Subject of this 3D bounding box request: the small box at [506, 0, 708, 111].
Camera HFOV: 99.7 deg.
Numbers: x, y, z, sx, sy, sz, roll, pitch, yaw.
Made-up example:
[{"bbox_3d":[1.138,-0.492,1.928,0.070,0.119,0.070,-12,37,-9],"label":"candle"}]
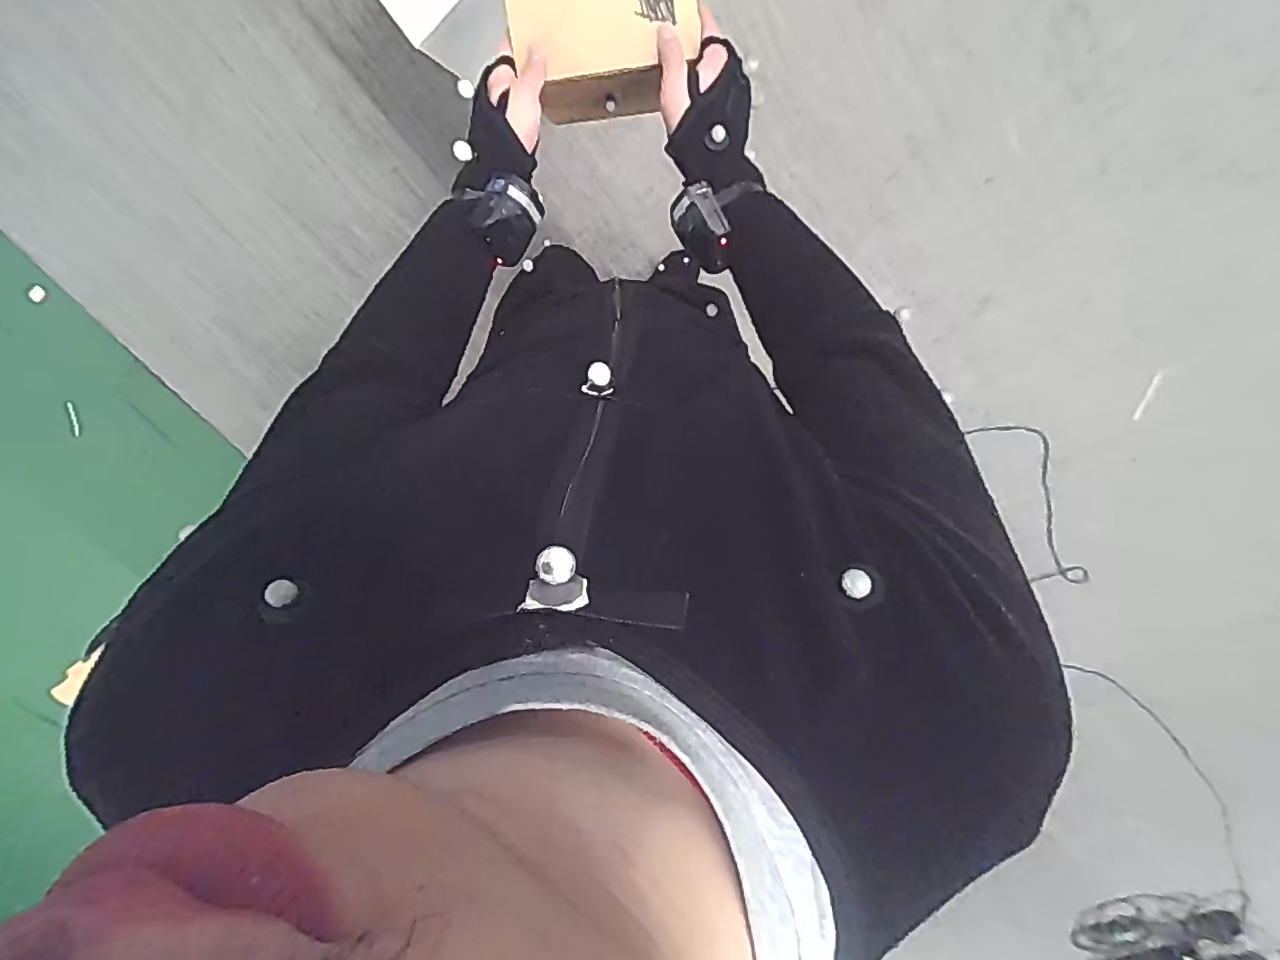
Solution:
[{"bbox_3d":[-0.031,-0.483,0.526,0.179,0.176,0.168,-4,111,4],"label":"small box"}]
